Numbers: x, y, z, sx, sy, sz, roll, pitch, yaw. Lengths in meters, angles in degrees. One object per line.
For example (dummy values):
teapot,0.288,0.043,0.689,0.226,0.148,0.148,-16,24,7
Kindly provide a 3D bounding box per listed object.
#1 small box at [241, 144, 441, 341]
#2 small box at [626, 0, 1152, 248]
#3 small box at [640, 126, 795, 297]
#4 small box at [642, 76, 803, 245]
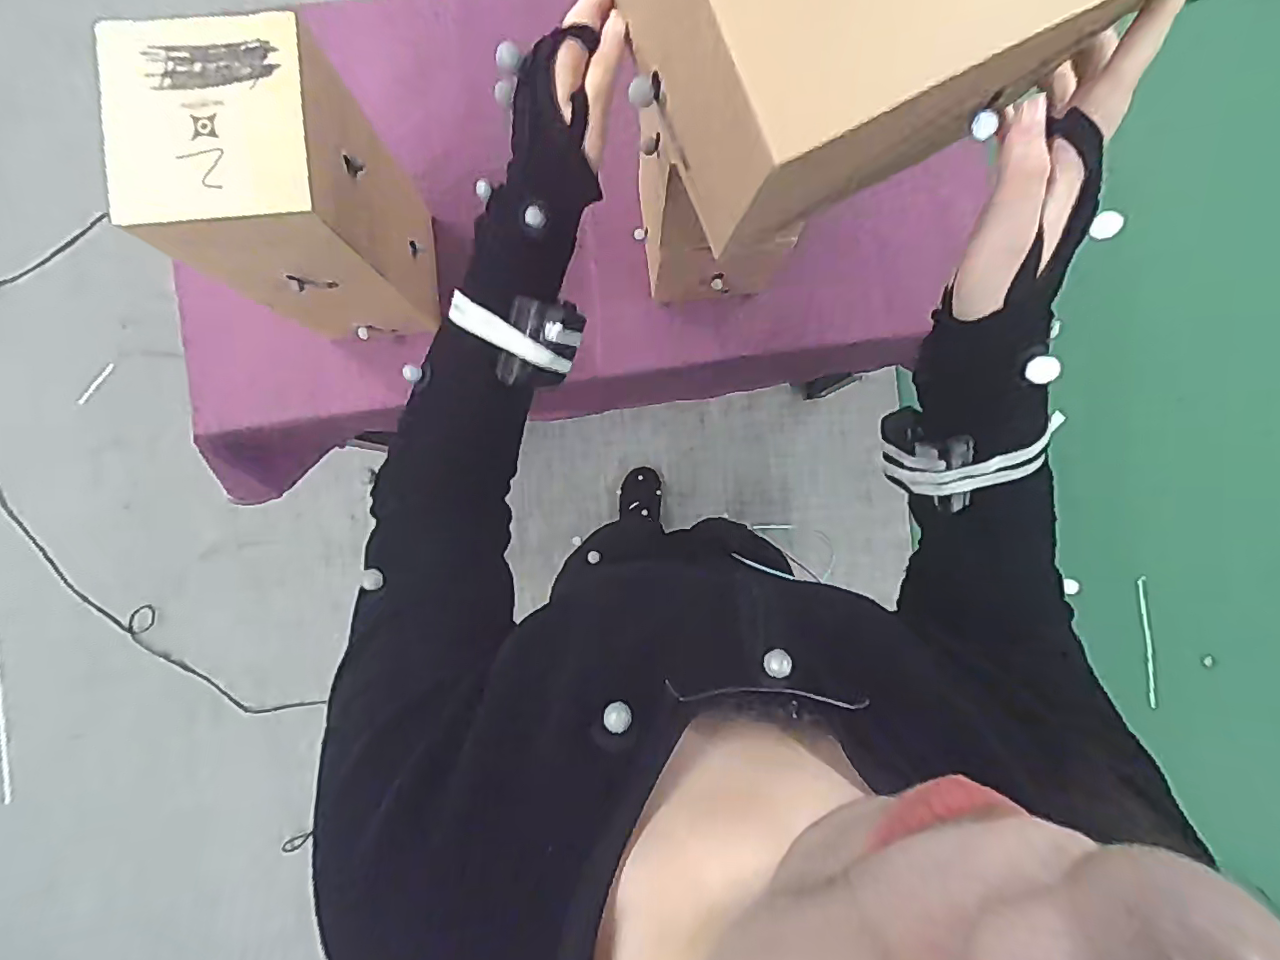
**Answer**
small box,-0.370,-0.293,0.697,0.168,0.176,0.179,-6,89,-2
small box,0.098,-0.245,0.270,0.179,0.176,0.168,-24,99,5
small box,0.092,-0.354,0.715,0.168,0.176,0.179,-7,89,-2
small box,0.094,-0.358,0.549,0.168,0.176,0.179,-7,88,-2
